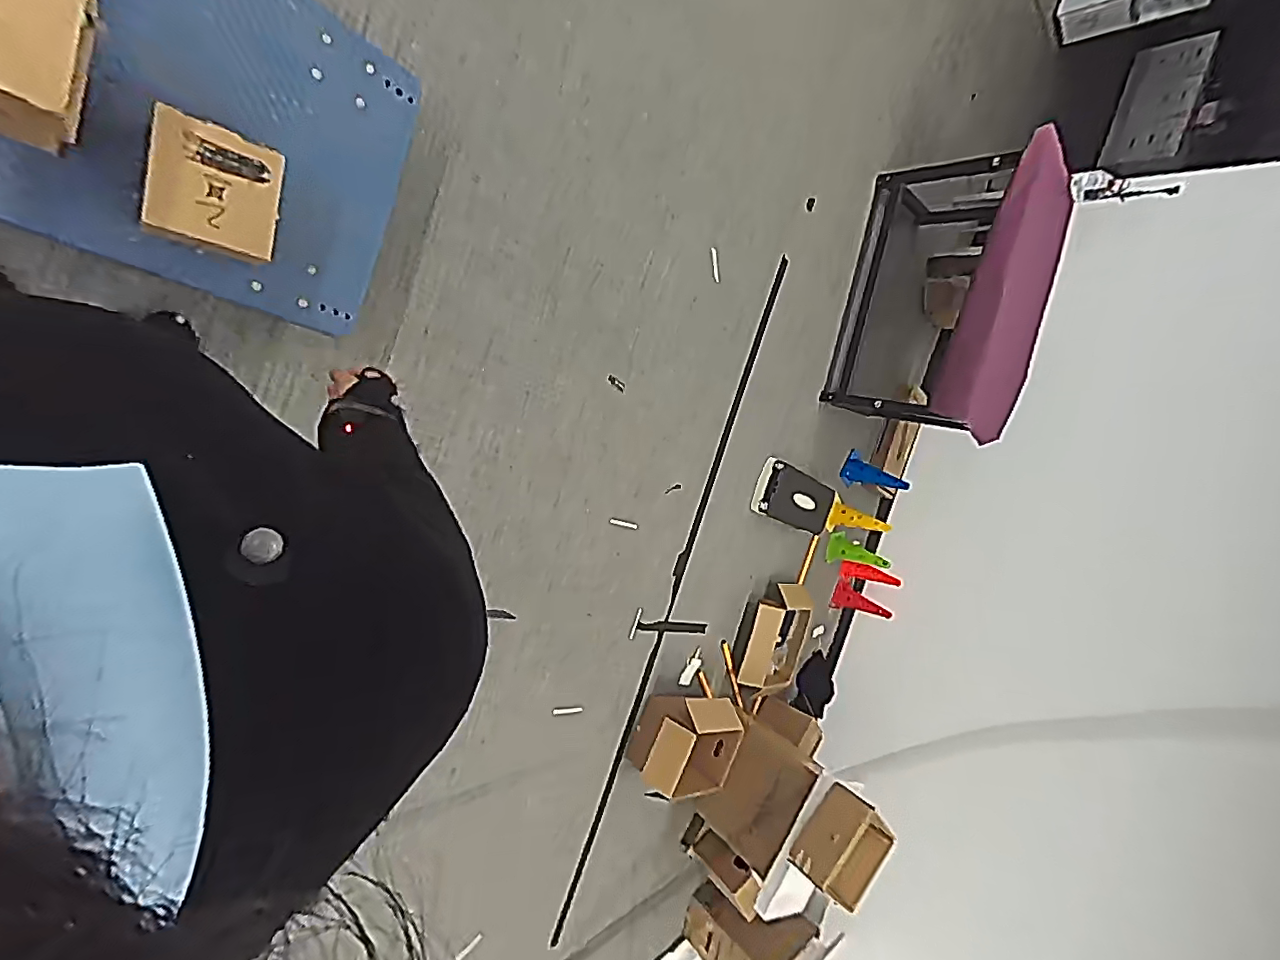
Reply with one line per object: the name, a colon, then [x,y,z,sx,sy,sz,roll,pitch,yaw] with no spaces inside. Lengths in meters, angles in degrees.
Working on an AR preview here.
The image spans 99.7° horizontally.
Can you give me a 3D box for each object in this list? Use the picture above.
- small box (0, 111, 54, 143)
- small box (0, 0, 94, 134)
small box: [-0.888,-0.588,0.716,0.168,0.176,0.179,11,97,-46]
small box: [-0.759,-0.542,0.621,0.168,0.176,0.179,12,97,-46]
